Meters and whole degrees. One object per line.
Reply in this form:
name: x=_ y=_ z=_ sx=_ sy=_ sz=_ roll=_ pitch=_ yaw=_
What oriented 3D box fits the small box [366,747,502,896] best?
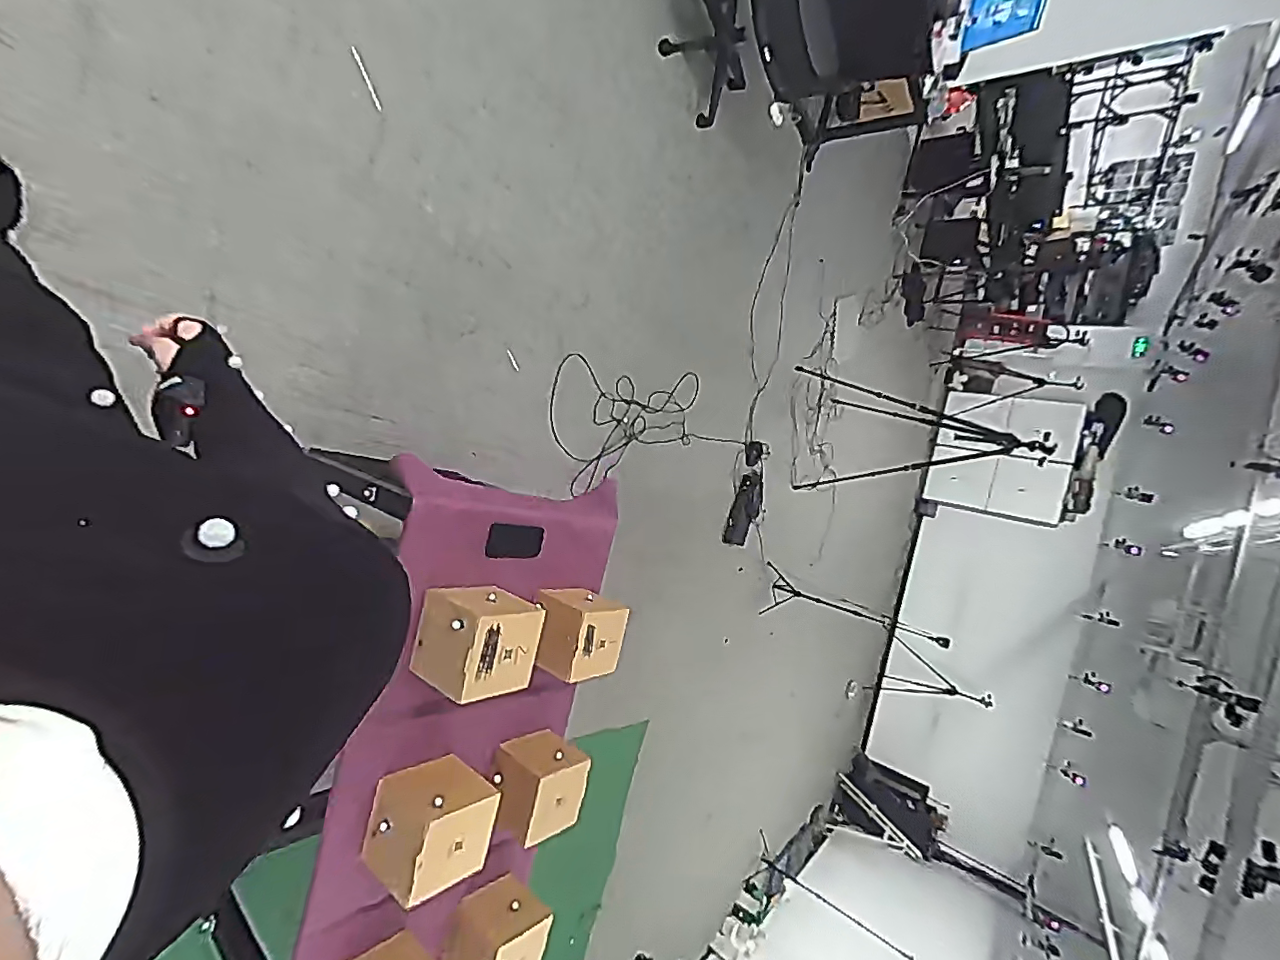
small box: x=-0.418 y=0.677 z=1.102 sx=0.179 sy=0.176 sz=0.168 roll=14 pitch=92 yaw=-54

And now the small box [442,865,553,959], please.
small box: x=-0.351 y=1.105 z=1.335 sx=0.179 sy=0.176 sz=0.168 roll=16 pitch=88 yaw=-53

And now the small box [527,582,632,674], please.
small box: x=-0.151 y=0.356 z=1.330 sx=0.179 sy=0.176 sz=0.168 roll=13 pitch=92 yaw=-53

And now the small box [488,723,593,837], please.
small box: x=-0.250 y=0.727 z=1.337 sx=0.179 sy=0.176 sz=0.168 roll=15 pitch=89 yaw=-52
